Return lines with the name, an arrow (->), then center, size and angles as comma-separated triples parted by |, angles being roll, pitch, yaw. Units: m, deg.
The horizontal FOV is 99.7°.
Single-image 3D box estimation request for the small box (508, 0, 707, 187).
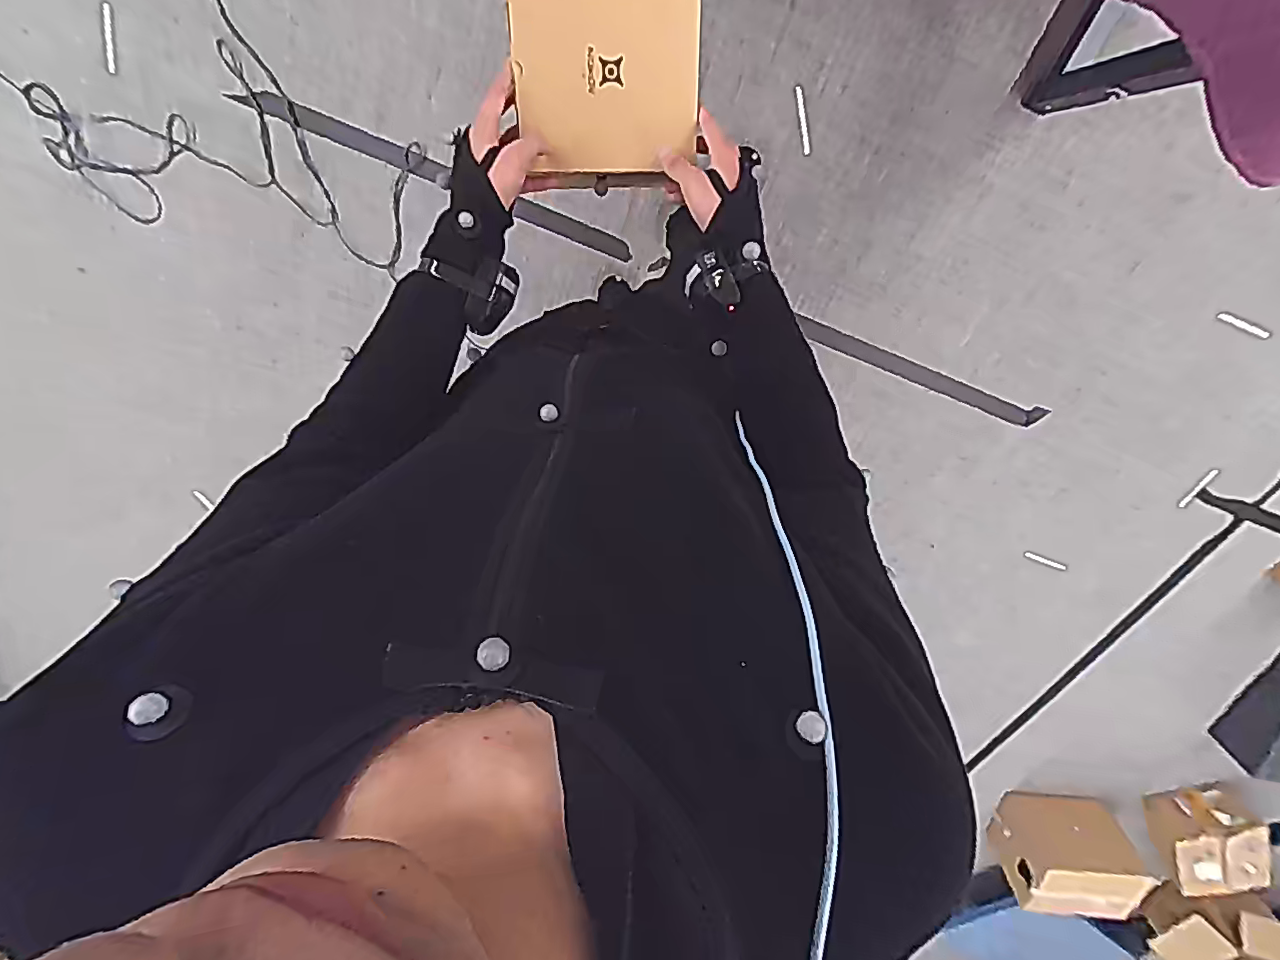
small box -> -0.033, -0.406, 0.563 | 0.179, 0.176, 0.168 | -2, 115, -3
